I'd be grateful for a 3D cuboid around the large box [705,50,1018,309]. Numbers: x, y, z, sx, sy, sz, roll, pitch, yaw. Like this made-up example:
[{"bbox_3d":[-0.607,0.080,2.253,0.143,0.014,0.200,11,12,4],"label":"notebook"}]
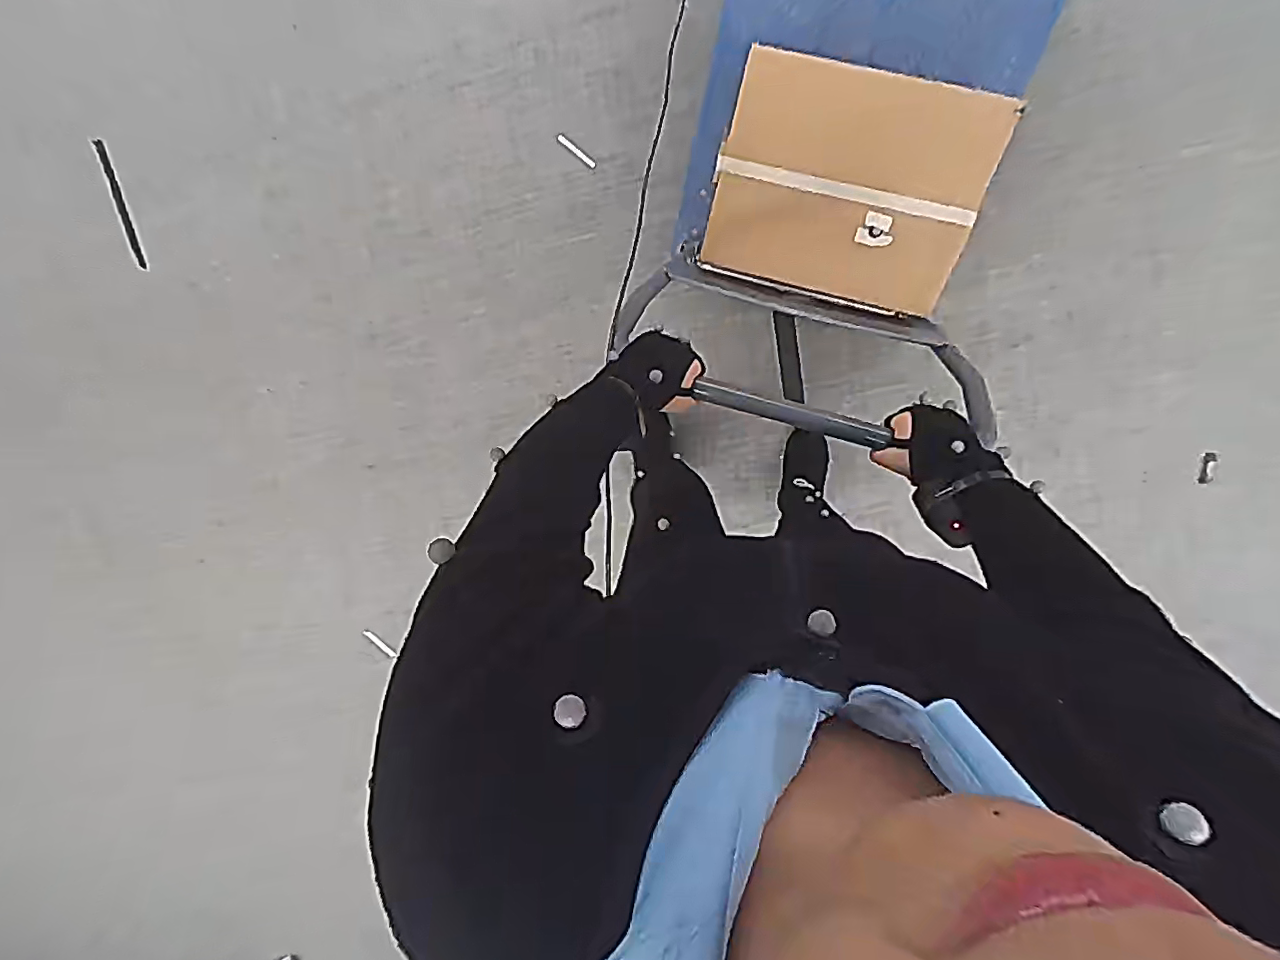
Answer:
[{"bbox_3d":[0.361,-0.538,1.002,0.408,0.320,0.320,16,120,5],"label":"large box"}]
